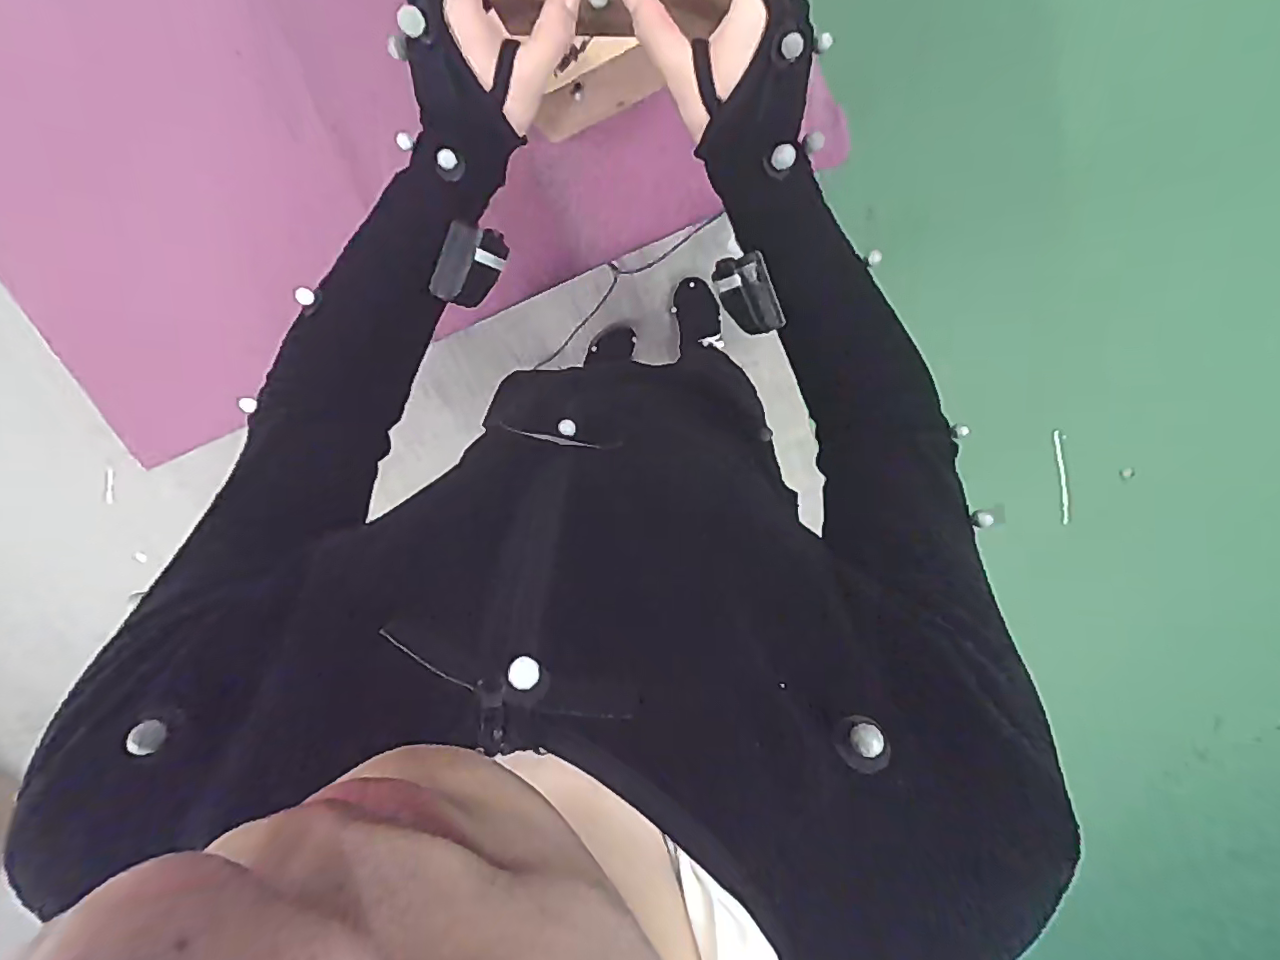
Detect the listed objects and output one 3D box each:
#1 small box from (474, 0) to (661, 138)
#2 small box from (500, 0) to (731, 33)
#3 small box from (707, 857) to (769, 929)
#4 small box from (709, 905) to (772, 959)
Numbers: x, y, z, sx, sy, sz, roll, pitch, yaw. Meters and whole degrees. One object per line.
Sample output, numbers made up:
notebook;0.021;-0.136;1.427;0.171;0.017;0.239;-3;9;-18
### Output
small box;-0.083;-0.529;0.611;0.168;0.176;0.179;-21;107;12
small box;-0.019;-0.378;0.289;0.168;0.176;0.179;3;109;1
small box;0.354;1.524;1.986;0.168;0.176;0.179;-22;109;11
small box;0.342;1.585;1.837;0.168;0.176;0.179;-22;109;11
